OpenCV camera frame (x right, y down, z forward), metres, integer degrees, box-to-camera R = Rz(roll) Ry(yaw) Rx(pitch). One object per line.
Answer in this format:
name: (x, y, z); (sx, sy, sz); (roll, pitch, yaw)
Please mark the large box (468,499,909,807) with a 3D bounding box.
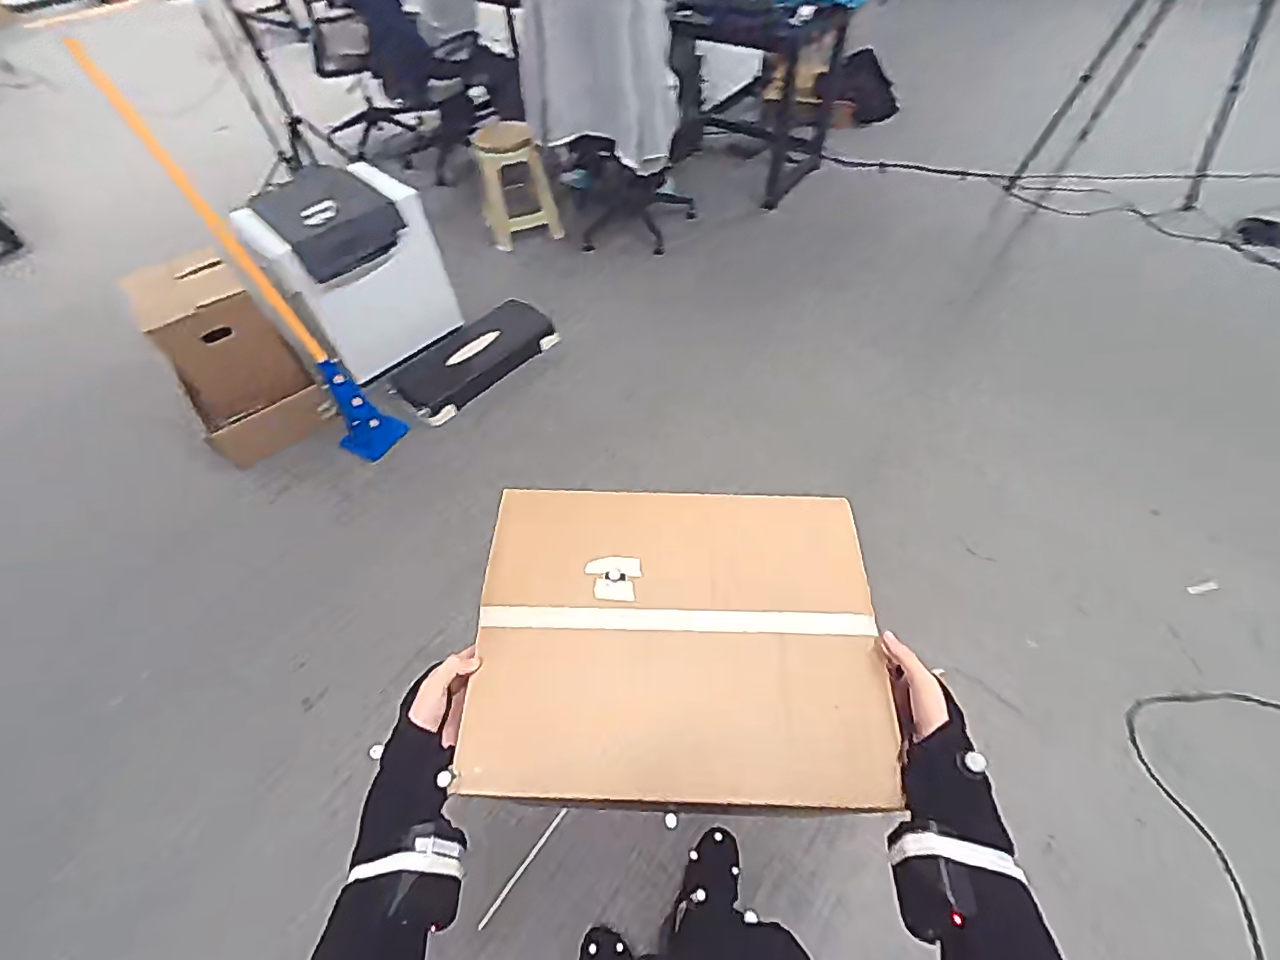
large box: (0.050, 0.232, 0.687); (0.408, 0.320, 0.320); (1, 56, 2)
